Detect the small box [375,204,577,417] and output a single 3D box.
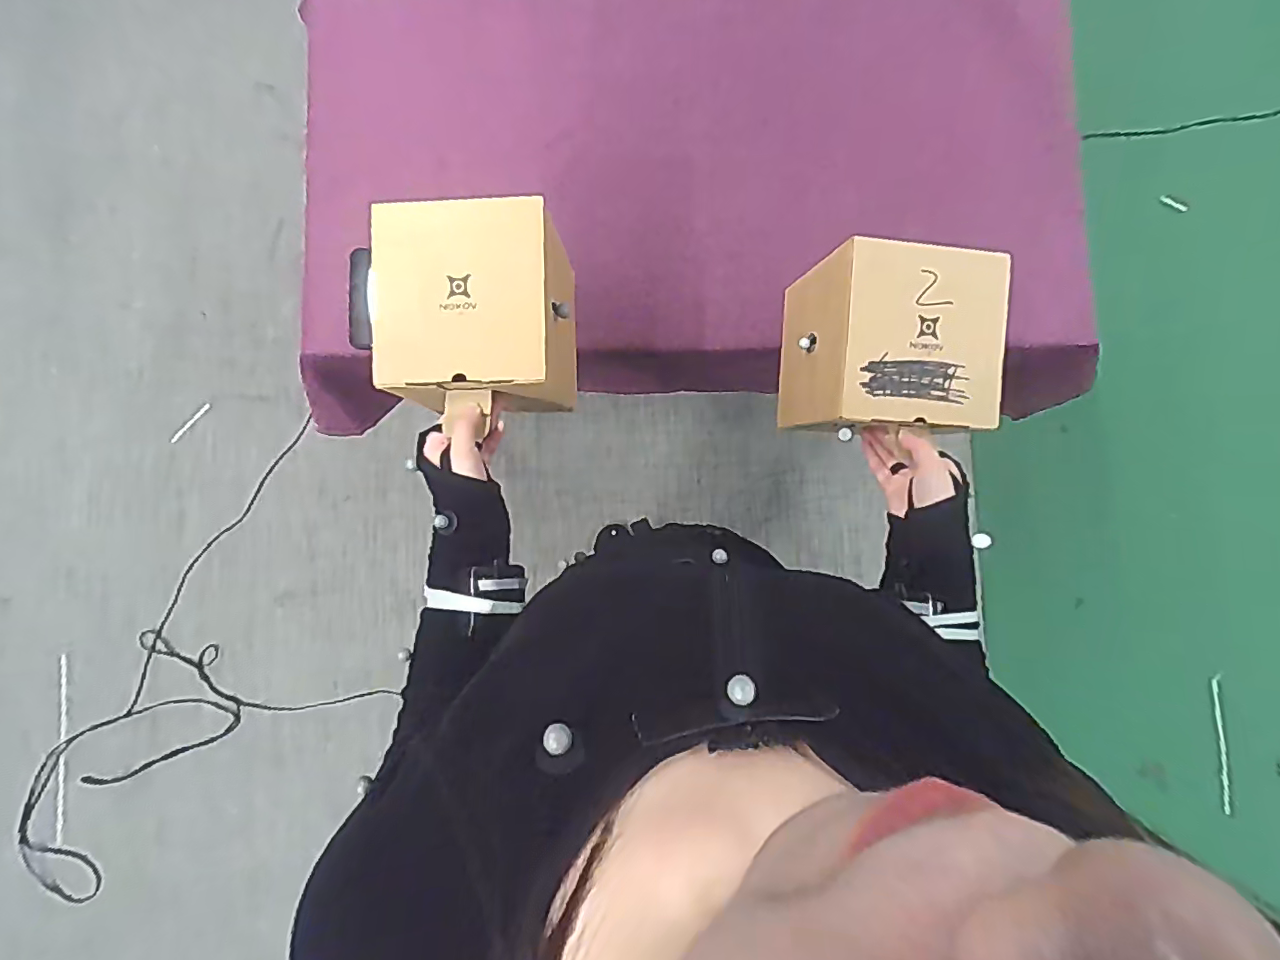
[{"bbox_3d":[-0.163,-0.168,0.582,0.168,0.176,0.179,-1,89,2],"label":"small box"}]
